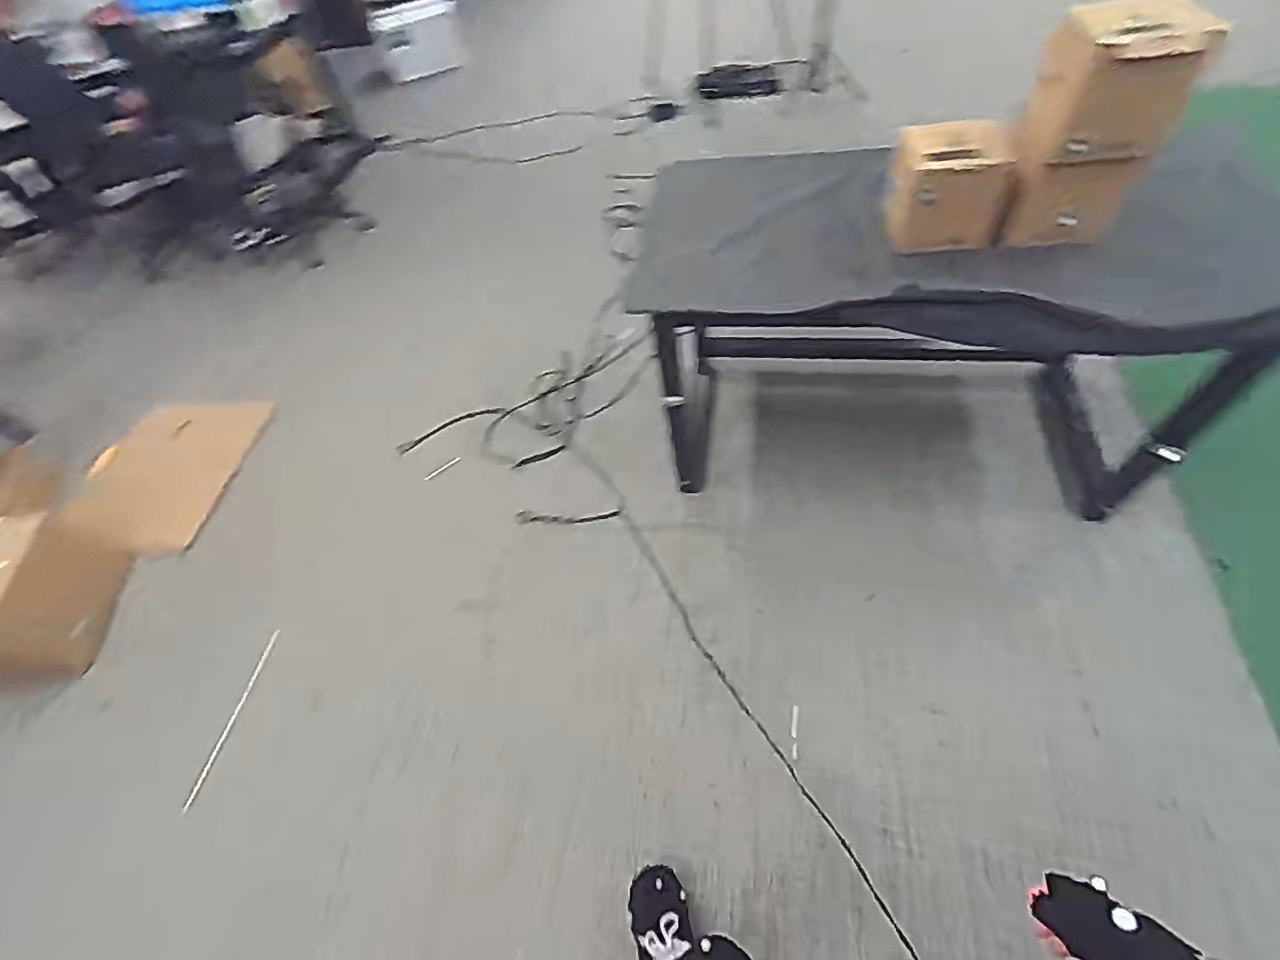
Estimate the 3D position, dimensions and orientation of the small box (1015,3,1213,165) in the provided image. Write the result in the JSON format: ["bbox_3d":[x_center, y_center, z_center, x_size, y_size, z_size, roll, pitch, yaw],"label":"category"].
[{"bbox_3d":[0.762,-0.644,0.896,0.168,0.176,0.179,0,55,11],"label":"small box"}]
